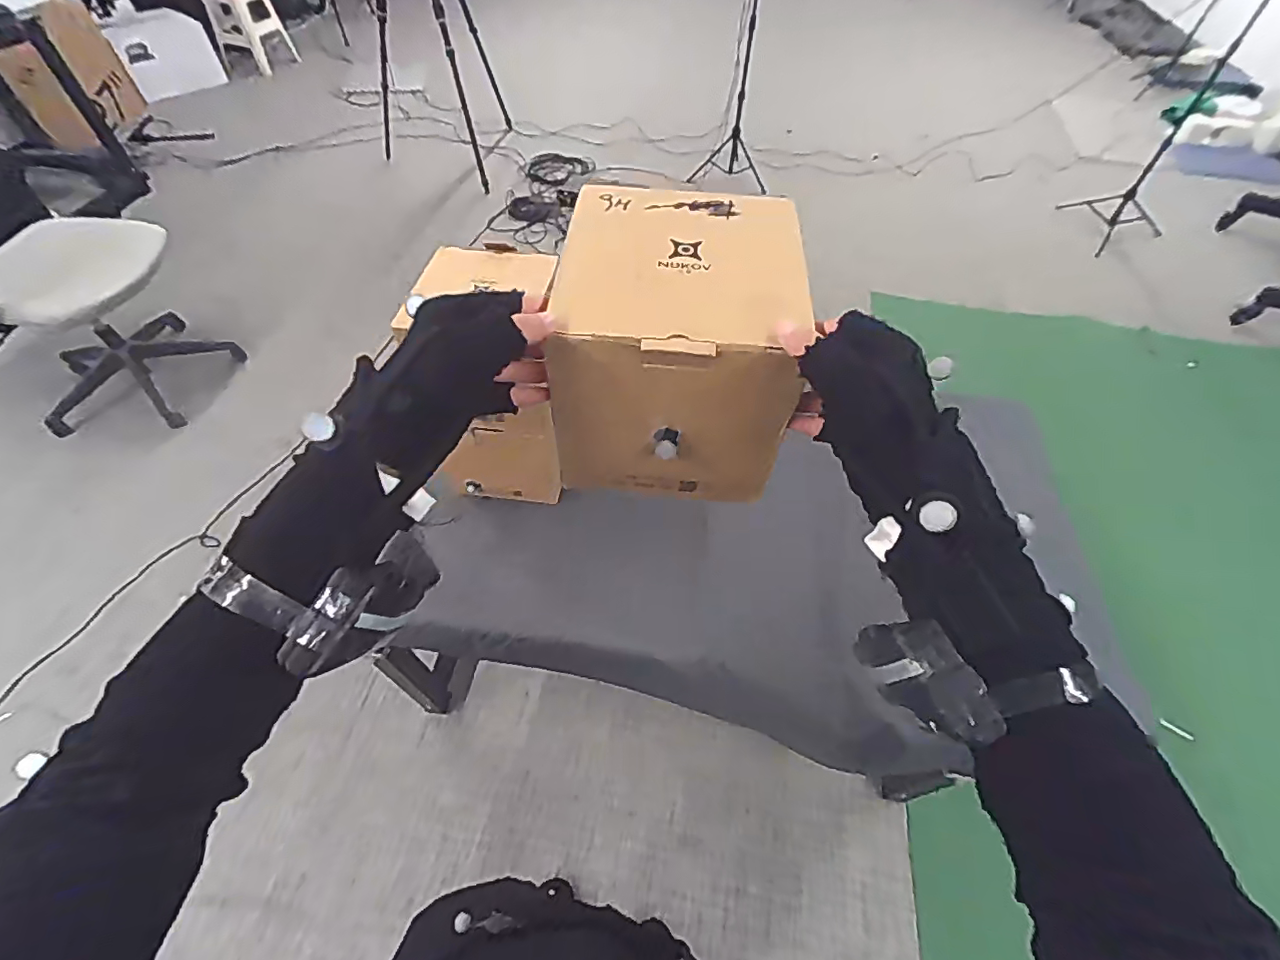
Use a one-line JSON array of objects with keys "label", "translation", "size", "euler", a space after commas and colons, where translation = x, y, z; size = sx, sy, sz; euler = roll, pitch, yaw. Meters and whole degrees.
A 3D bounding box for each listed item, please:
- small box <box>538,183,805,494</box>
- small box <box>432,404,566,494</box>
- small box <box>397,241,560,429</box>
[{"label": "small box", "translation": [0.024, -0.106, 0.436], "size": [0.168, 0.176, 0.179], "euler": [5, 56, 1]}, {"label": "small box", "translation": [-0.203, -0.097, 0.863], "size": [0.168, 0.176, 0.179], "euler": [7, 53, 2]}, {"label": "small box", "translation": [-0.195, -0.193, 0.733], "size": [0.168, 0.176, 0.179], "euler": [5, 55, 3]}]
